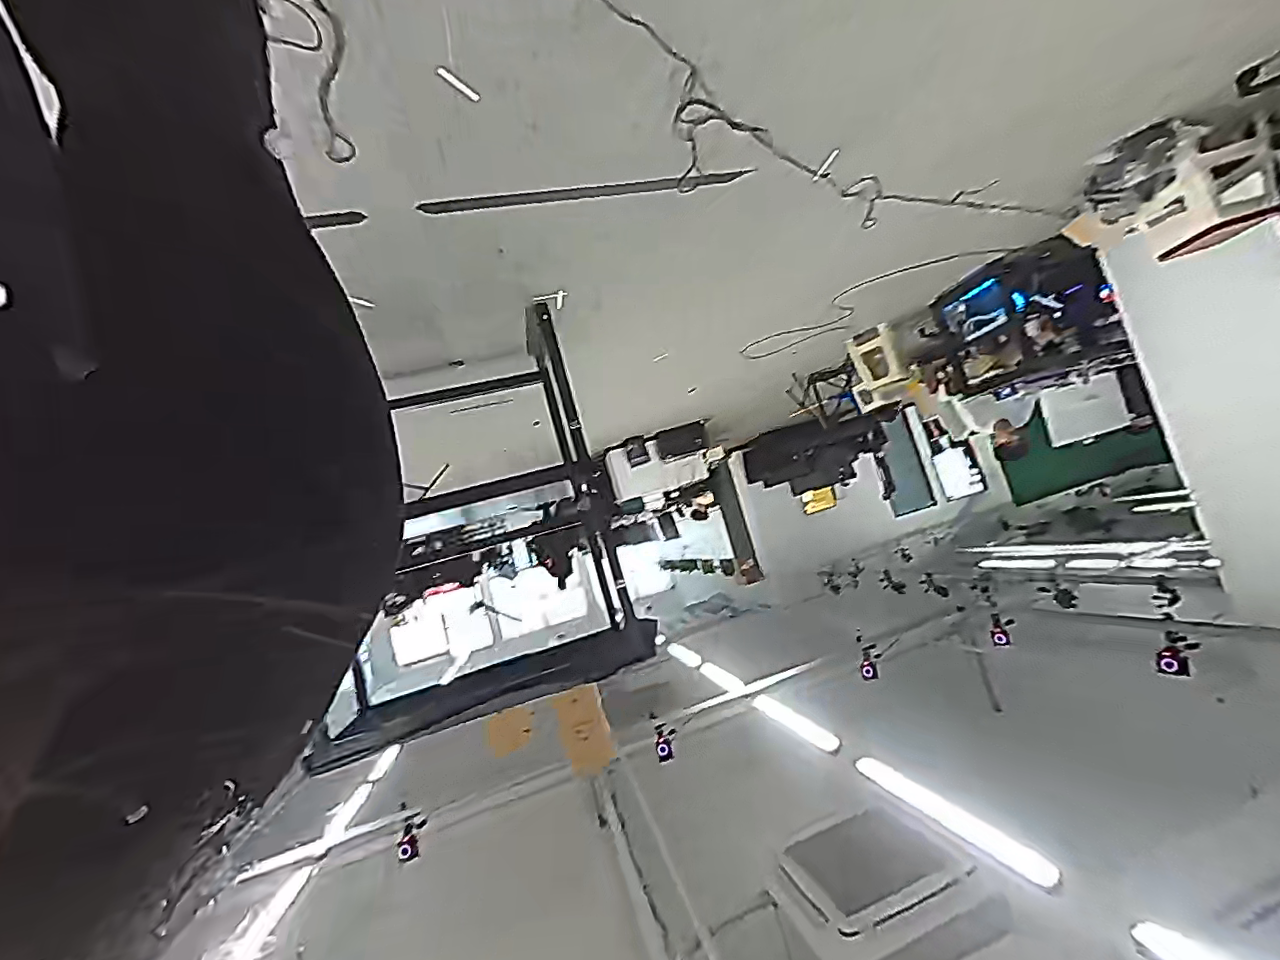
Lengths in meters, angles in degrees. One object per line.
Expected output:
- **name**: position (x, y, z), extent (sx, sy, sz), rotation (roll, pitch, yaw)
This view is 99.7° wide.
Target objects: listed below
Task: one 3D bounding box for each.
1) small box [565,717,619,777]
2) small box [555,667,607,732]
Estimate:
- **small box**: position (-0.190, 1.009, 2.099), extent (0.168, 0.176, 0.179), rotation (-16, 176, -10)
- **small box**: position (-0.233, 0.849, 2.109), extent (0.168, 0.176, 0.179), rotation (-15, 175, -9)
